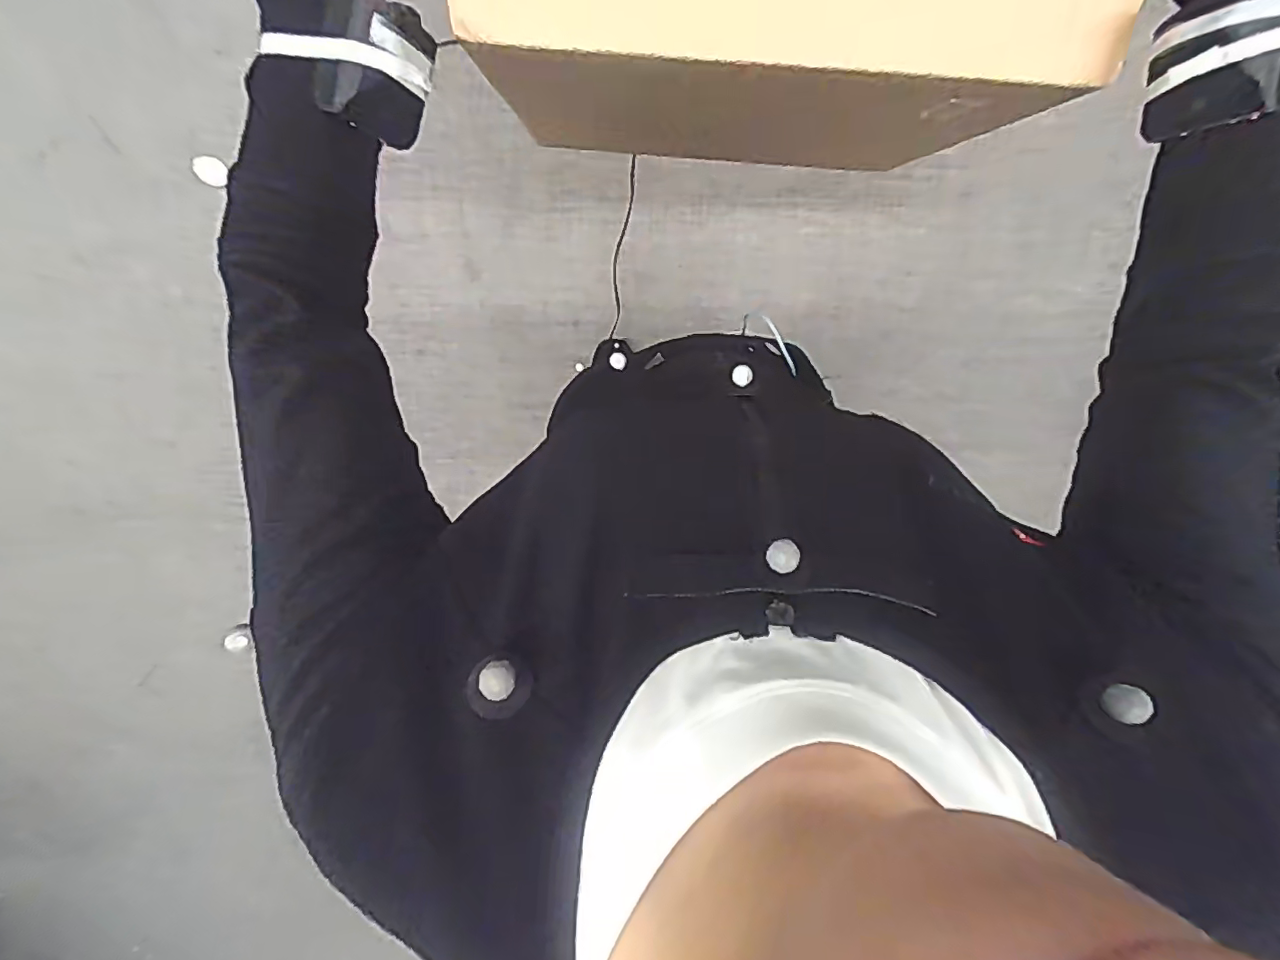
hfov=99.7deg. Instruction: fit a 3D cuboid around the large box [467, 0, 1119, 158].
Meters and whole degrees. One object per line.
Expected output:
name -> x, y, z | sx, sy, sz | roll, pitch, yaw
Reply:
large box -> 0.093, -0.458, 0.419 | 0.408, 0.320, 0.320 | 2, 112, -1
